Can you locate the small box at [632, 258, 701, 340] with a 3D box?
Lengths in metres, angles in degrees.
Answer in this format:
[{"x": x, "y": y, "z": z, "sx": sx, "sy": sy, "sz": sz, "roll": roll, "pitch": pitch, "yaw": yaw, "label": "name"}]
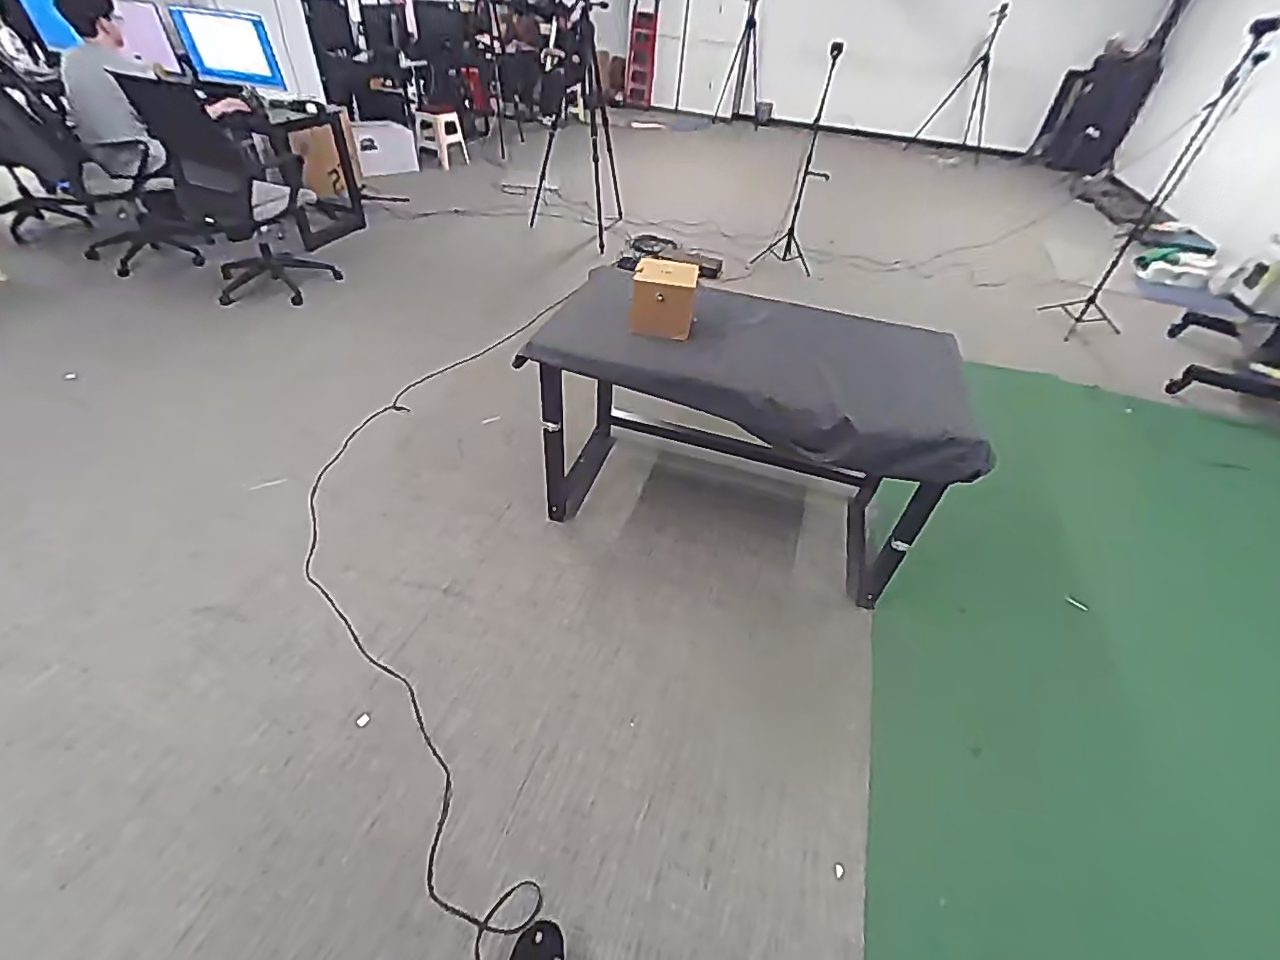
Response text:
[{"x": 0.075, "y": -0.530, "z": 1.587, "sx": 0.179, "sy": 0.176, "sz": 0.168, "roll": 10, "pitch": 44, "yaw": 2, "label": "small box"}]
